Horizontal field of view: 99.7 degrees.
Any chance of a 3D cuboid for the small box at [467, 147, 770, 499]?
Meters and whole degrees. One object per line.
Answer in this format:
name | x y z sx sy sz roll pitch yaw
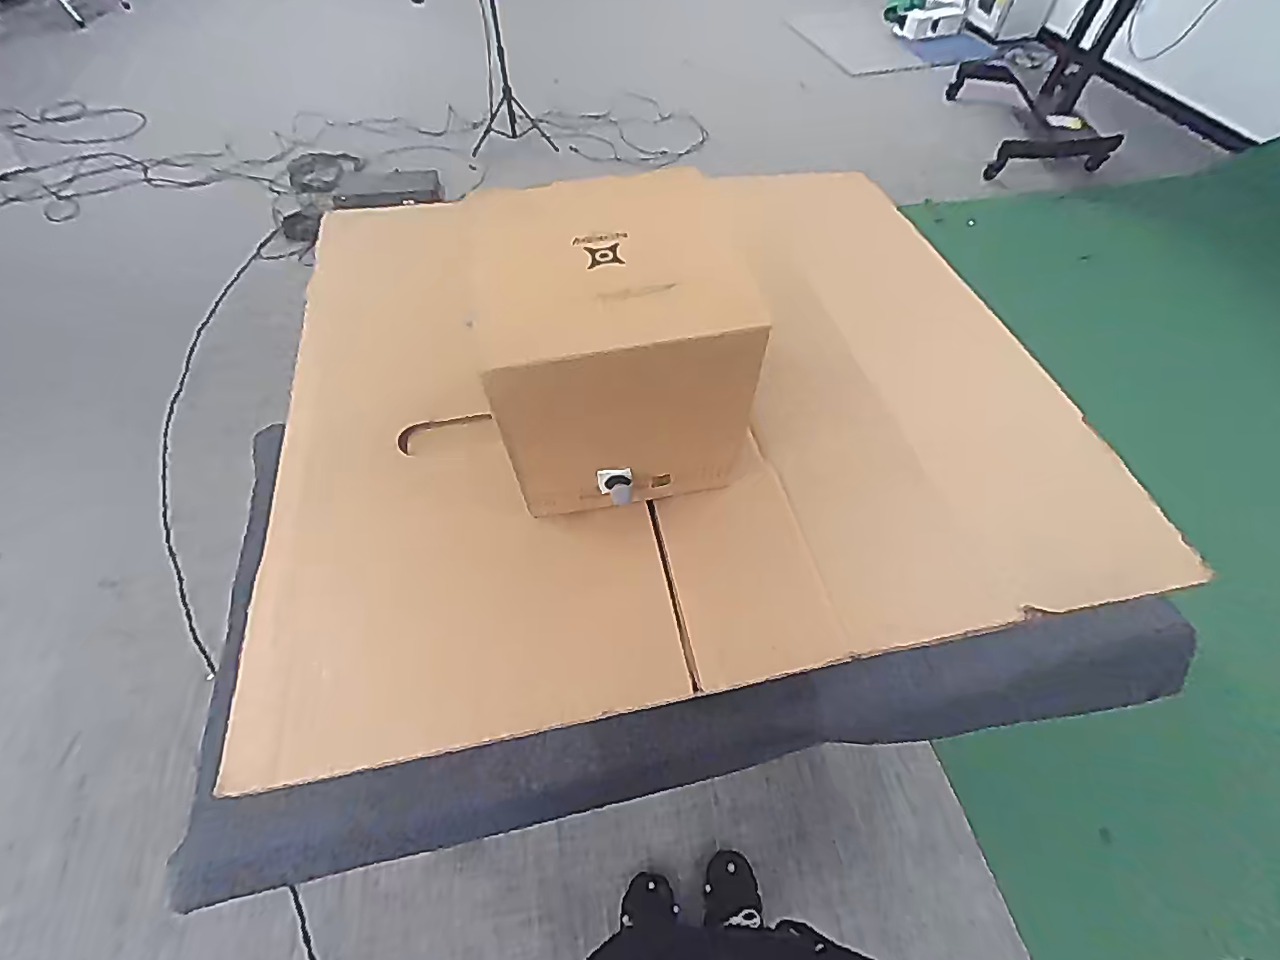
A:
small box | -0.023 -0.111 0.402 0.168 0.176 0.179 -11 59 -6
